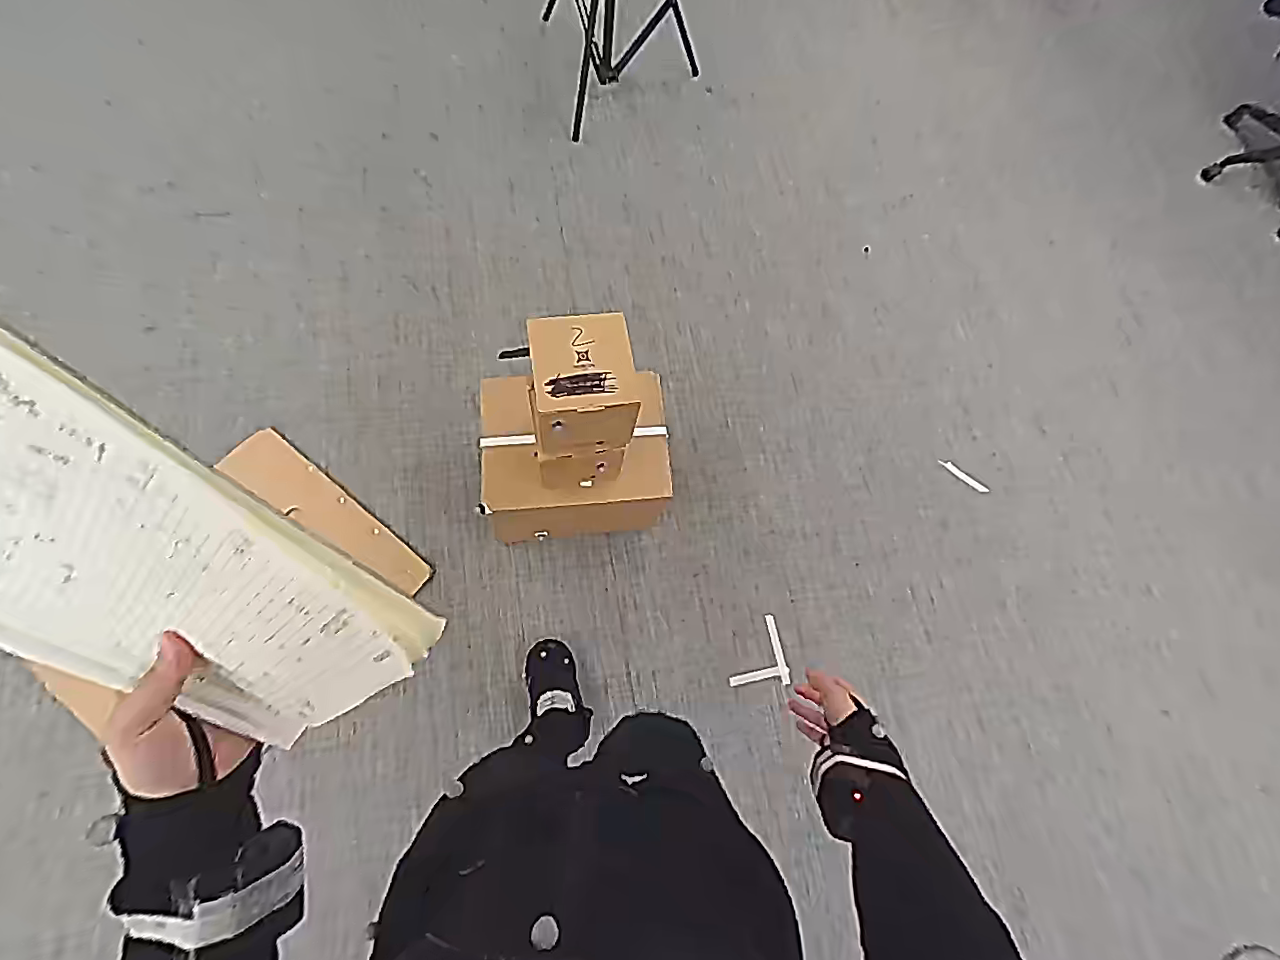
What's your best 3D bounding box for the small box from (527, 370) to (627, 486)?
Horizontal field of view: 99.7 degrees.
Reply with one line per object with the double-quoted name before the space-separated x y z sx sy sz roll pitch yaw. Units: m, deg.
"small box" -0.129 -0.096 1.092 0.168 0.176 0.179 -10 72 -11
